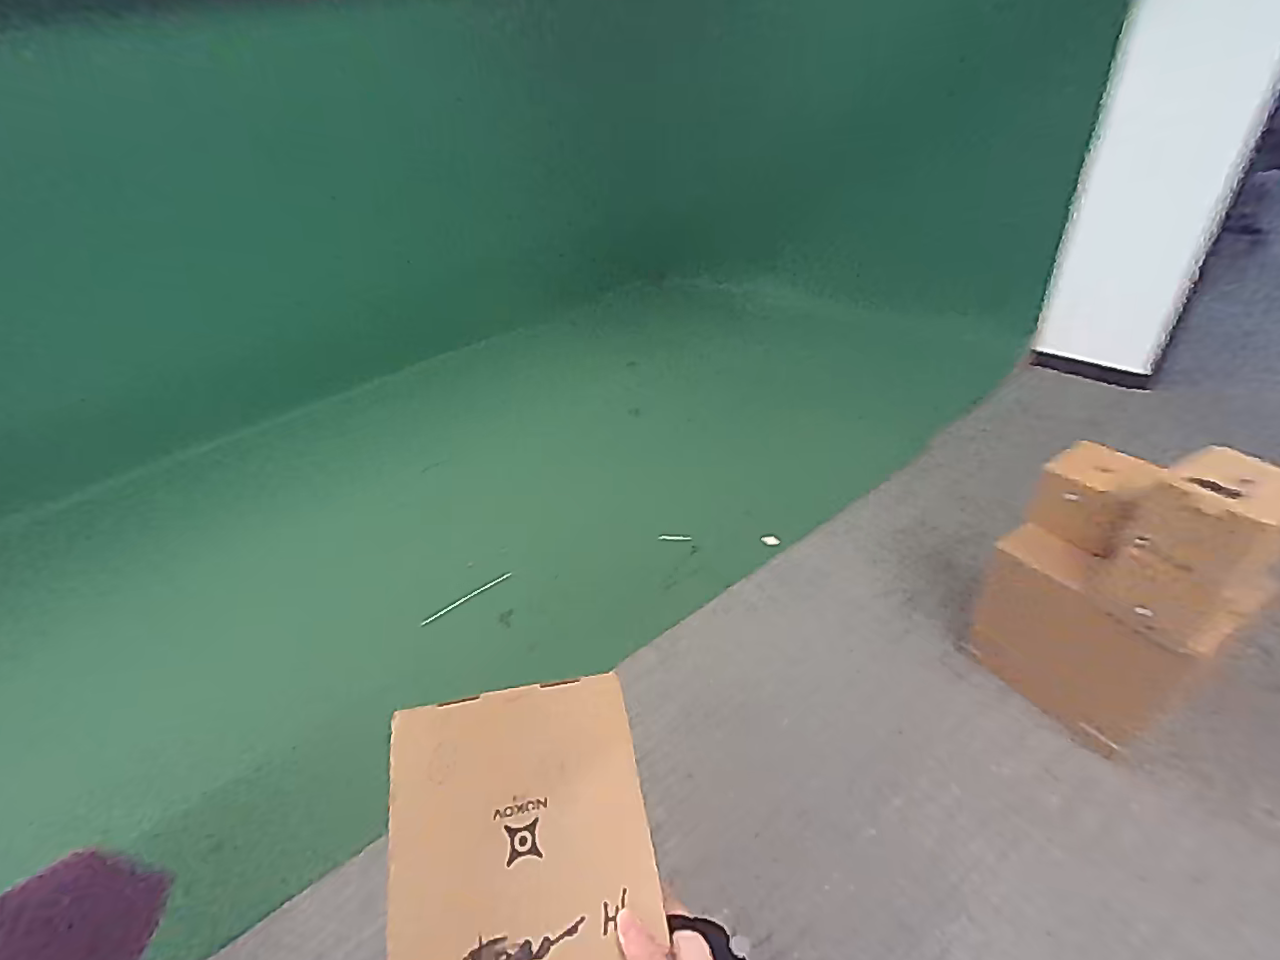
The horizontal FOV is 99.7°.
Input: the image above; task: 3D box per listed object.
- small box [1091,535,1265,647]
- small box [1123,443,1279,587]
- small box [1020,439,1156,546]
[{"bbox_3d":[1.059,0.196,1.082,0.179,0.176,0.168,-24,39,-18],"label":"small box"},{"bbox_3d":[1.037,0.064,0.984,0.179,0.176,0.168,-20,38,-15],"label":"small box"},{"bbox_3d":[1.059,0.035,1.288,0.168,0.176,0.179,-26,39,-19],"label":"small box"}]
